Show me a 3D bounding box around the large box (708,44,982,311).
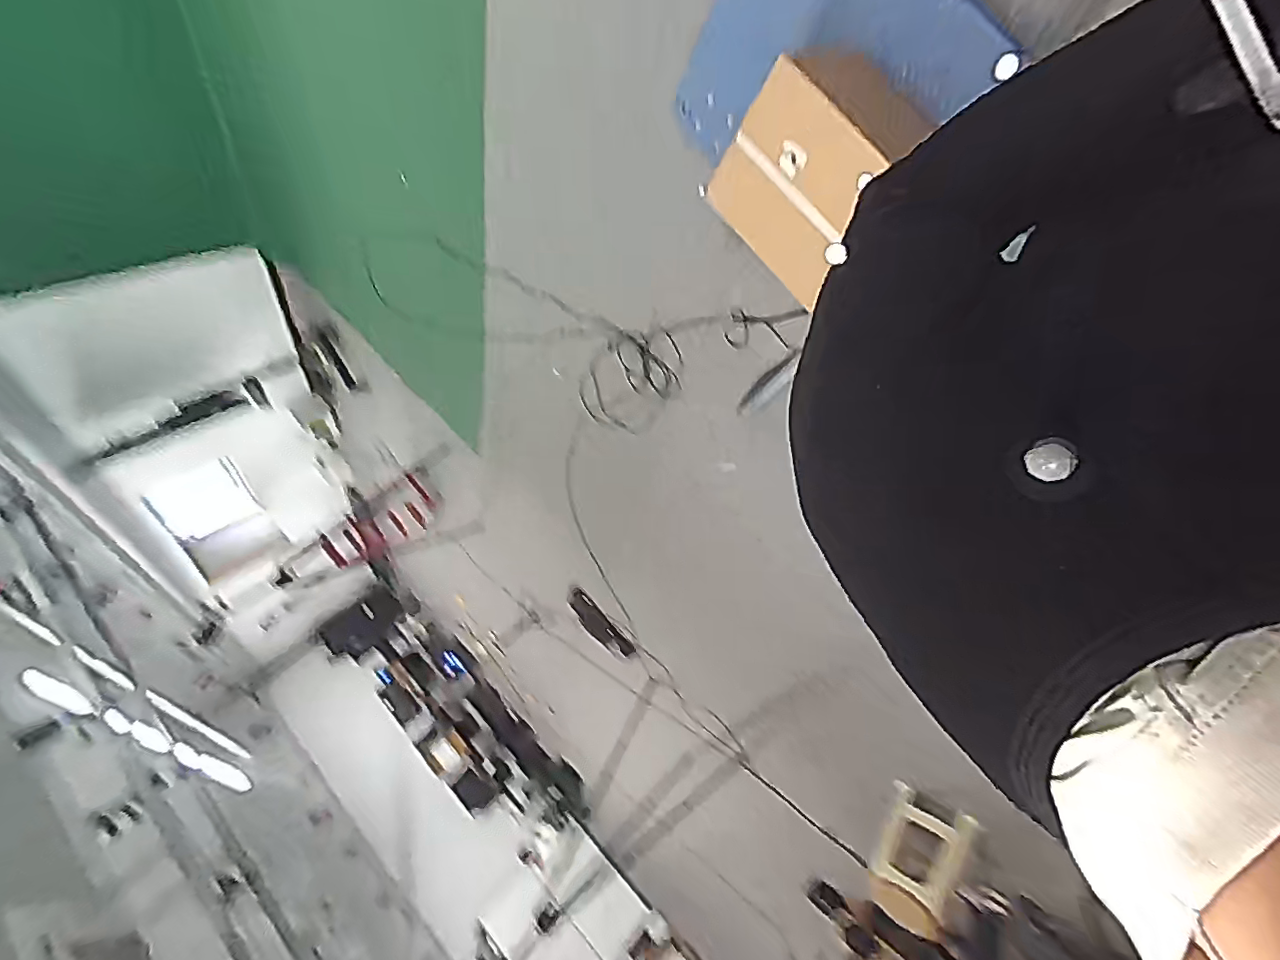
[{"bbox_3d":[0.439,-0.659,1.187,0.408,0.320,0.320,51,145,5],"label":"large box"}]
